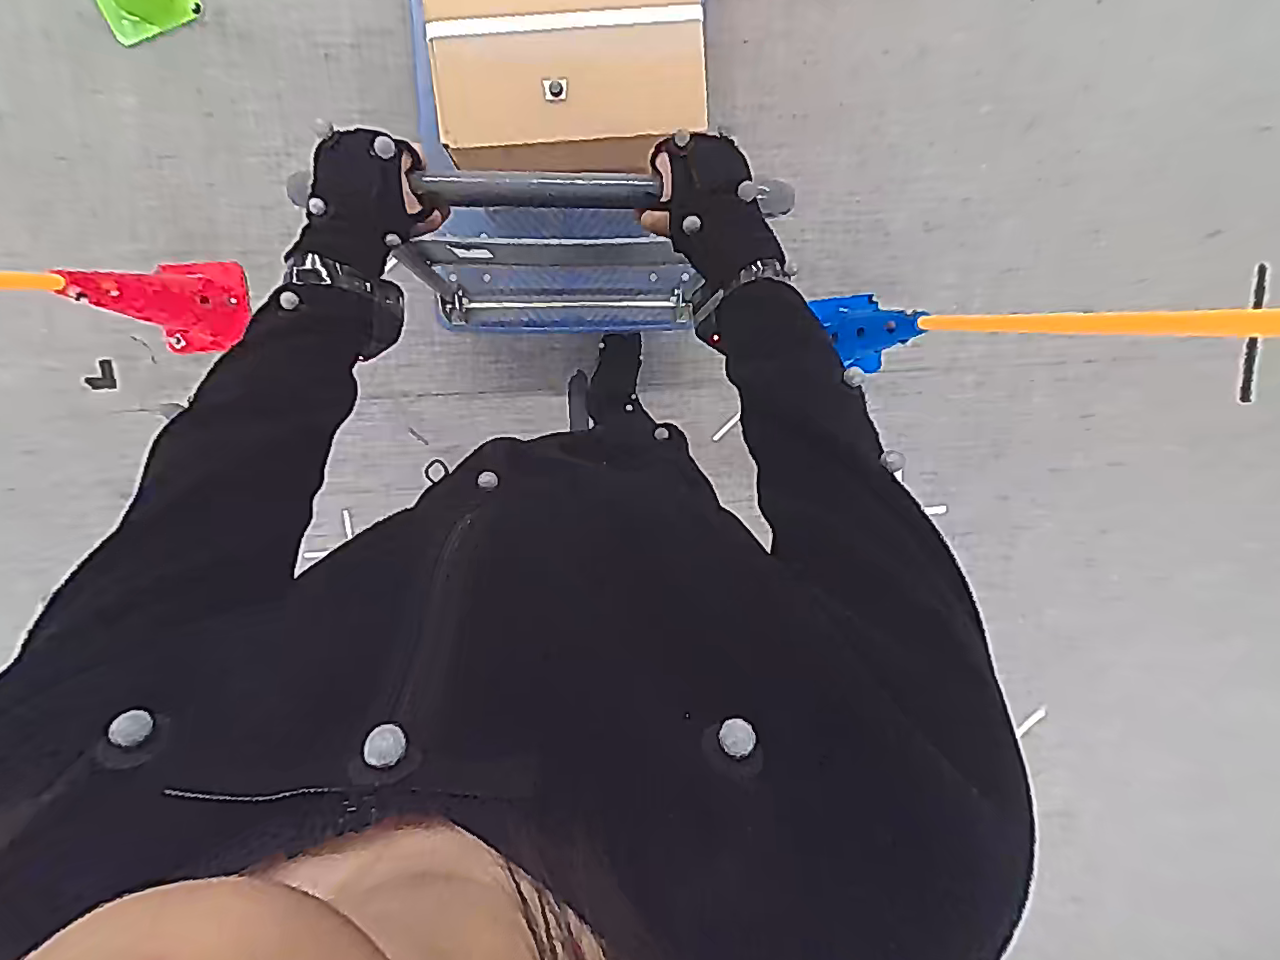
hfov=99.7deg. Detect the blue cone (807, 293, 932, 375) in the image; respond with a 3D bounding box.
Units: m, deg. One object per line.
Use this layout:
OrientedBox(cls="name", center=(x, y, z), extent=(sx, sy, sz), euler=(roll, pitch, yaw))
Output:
OrientedBox(cls="blue cone", center=(0.538, -0.346, 1.228), extent=(0.193, 0.380, 0.192), euler=(-7, 100, -3))
